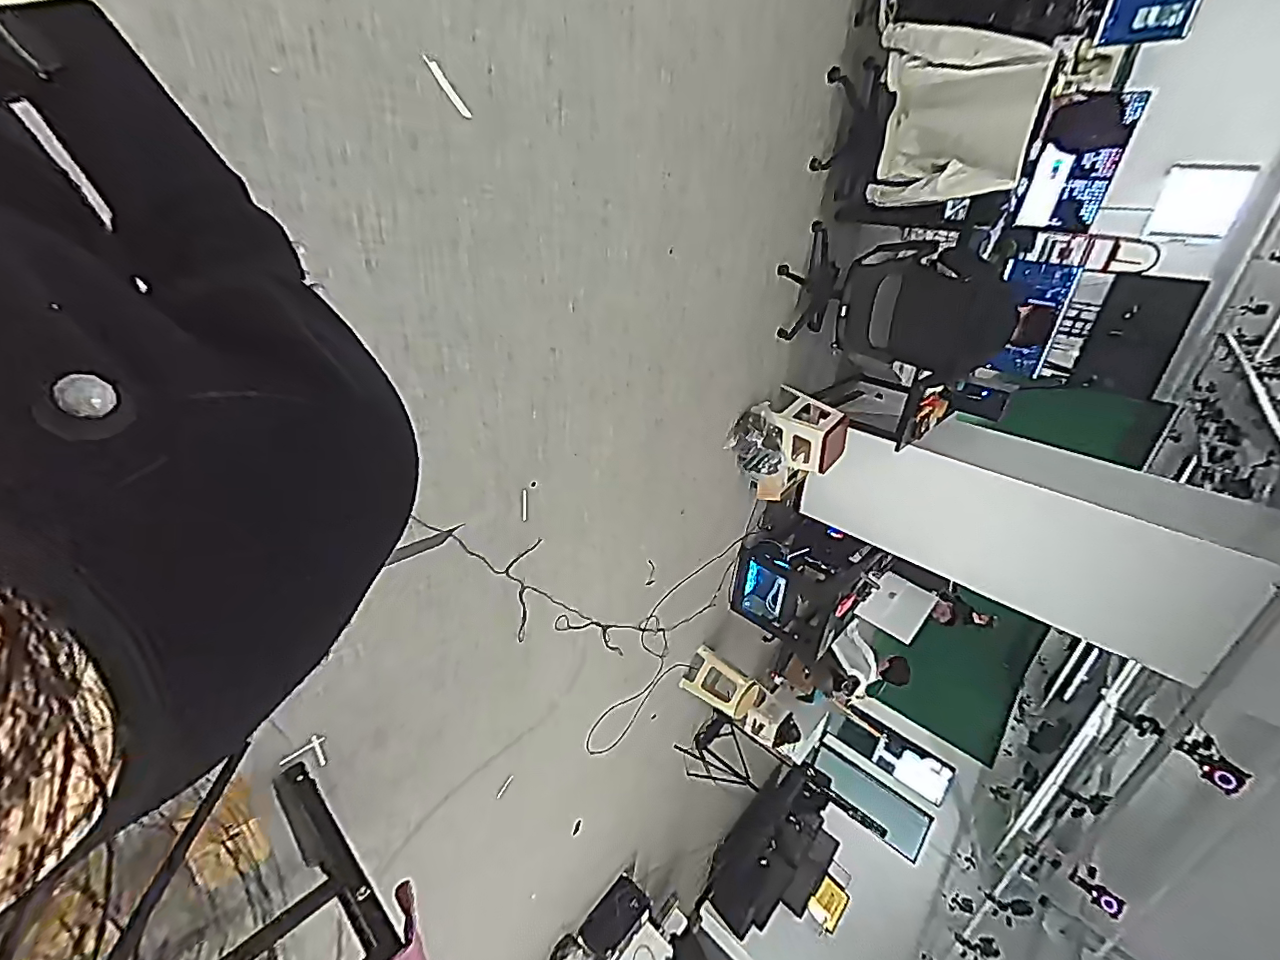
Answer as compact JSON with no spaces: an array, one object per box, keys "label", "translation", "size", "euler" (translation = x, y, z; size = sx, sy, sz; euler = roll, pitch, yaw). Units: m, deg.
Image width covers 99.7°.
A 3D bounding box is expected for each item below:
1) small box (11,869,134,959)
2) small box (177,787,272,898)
[{"label":"small box","translation":[-1.420,1.135,1.356],"size":[0.168,0.176,0.179],"euler":[-25,129,-43]},{"label":"small box","translation":[-1.209,1.048,1.577],"size":[0.168,0.176,0.179],"euler":[-23,129,-43]}]
